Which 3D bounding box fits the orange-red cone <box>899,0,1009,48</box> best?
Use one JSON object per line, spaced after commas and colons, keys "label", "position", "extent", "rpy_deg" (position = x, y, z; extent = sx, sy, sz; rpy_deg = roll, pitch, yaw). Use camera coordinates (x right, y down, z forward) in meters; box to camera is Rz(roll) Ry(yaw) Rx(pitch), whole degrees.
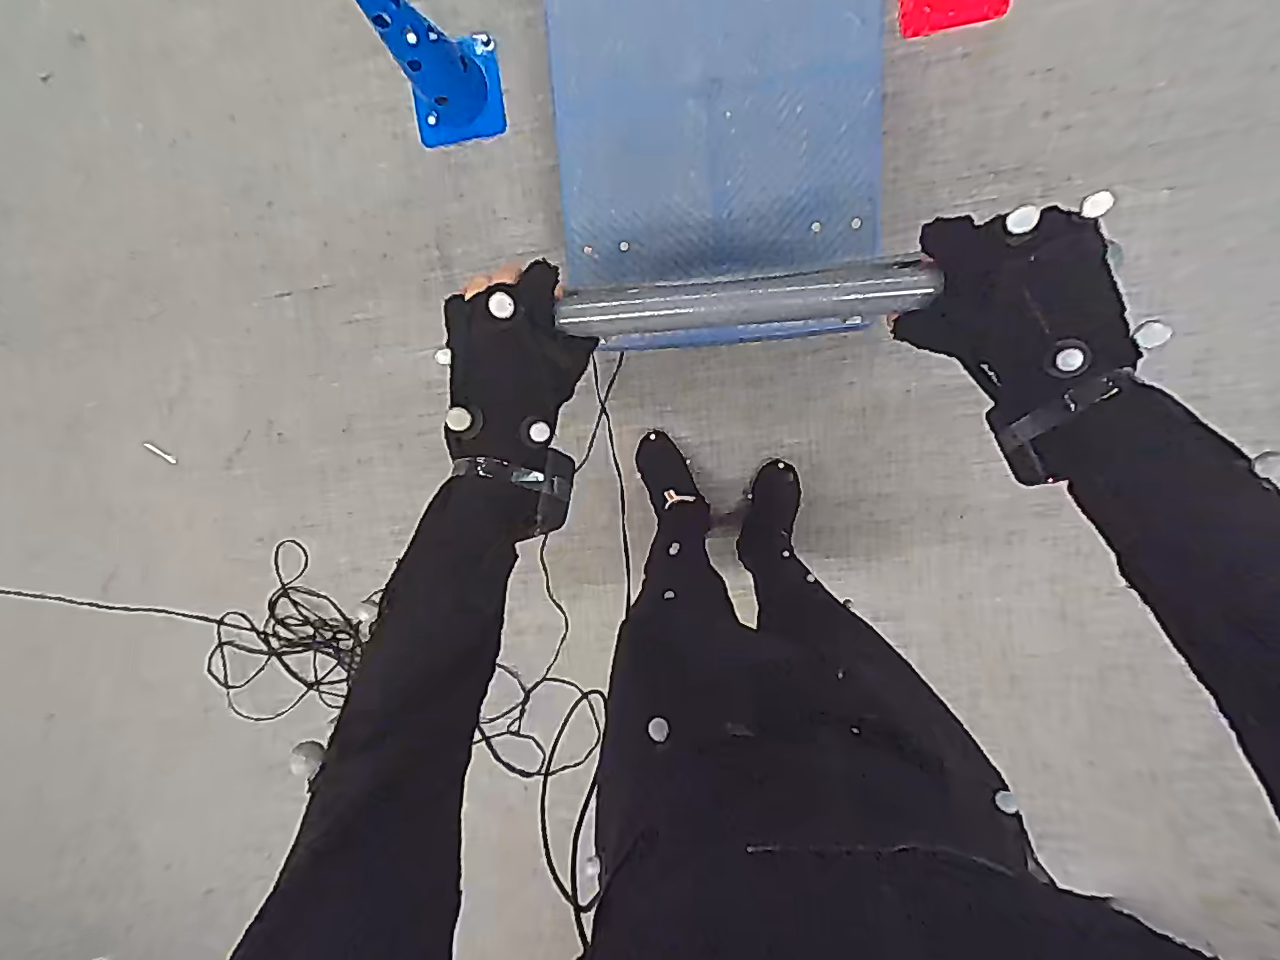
{"label": "orange-red cone", "position": [0.574, -0.922, 0.870], "extent": [0.199, 0.360, 0.198], "rpy_deg": [-6, 99, 10]}
